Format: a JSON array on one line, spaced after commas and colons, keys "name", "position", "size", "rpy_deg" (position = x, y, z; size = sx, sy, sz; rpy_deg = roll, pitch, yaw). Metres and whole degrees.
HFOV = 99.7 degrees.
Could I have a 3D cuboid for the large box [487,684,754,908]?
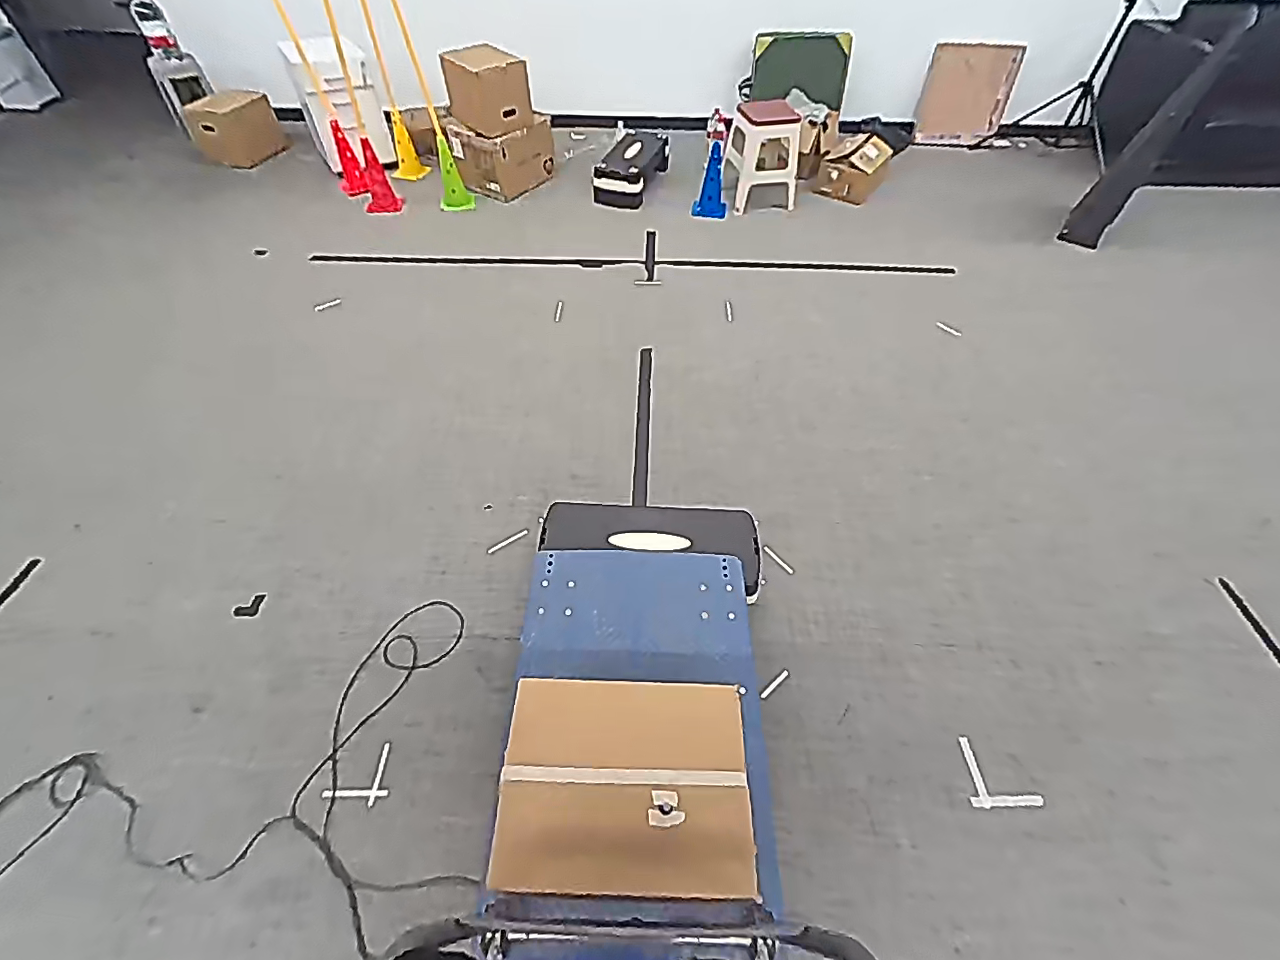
[{"name": "large box", "position": [-0.034, 0.590, 1.001], "size": [0.408, 0.320, 0.320], "rpy_deg": [3, 51, -1]}]
